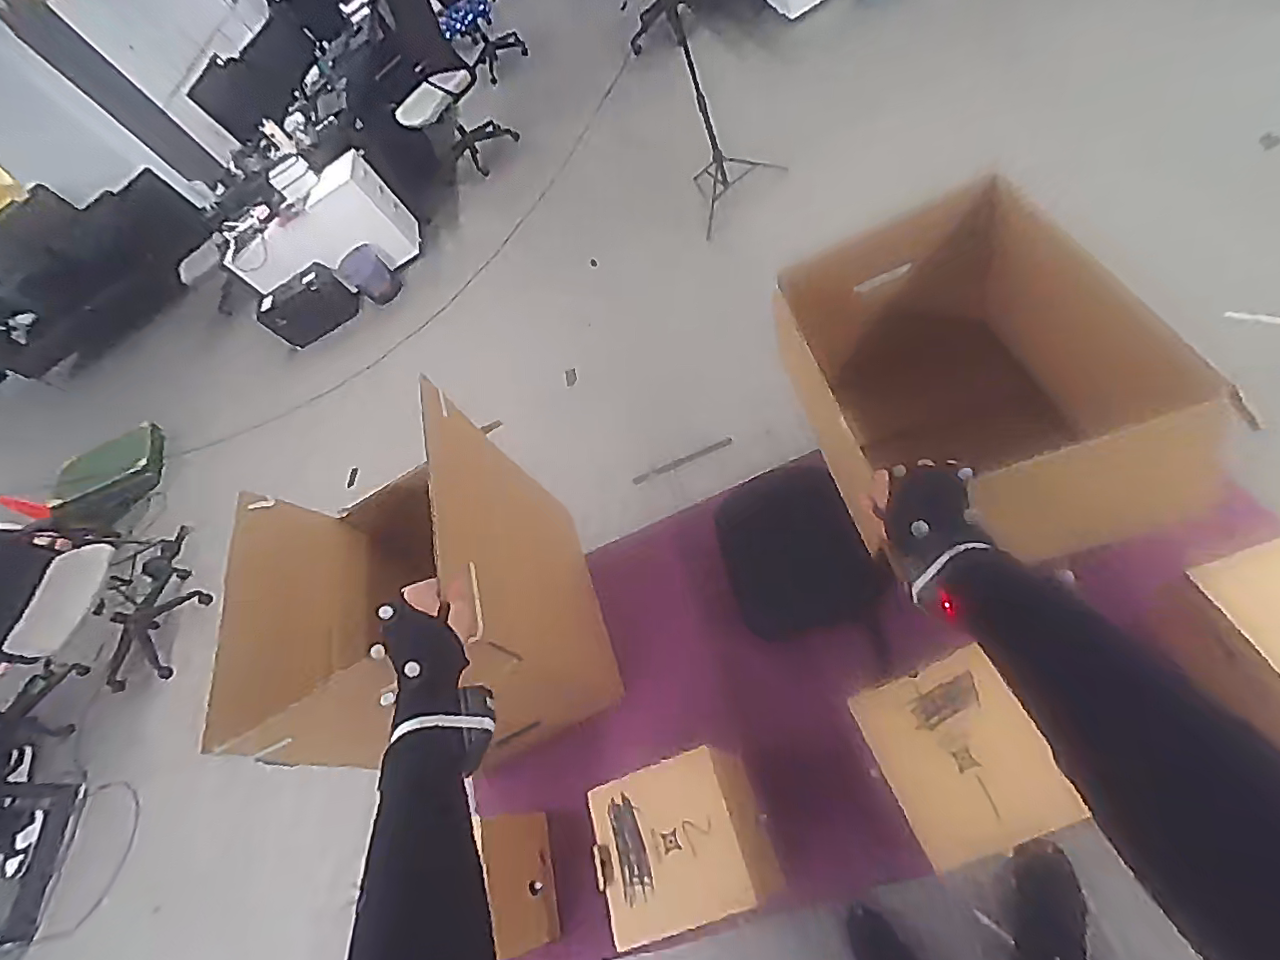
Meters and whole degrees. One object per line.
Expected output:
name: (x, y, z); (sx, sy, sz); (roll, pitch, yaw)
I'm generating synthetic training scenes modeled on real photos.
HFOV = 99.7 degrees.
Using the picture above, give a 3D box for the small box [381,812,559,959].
small box: (-0.241, 0.596, 0.777); (0.179, 0.176, 0.168); (-25, 53, 10)

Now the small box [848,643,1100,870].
small box: (0.365, 0.318, 0.627); (0.168, 0.176, 0.179); (-29, 54, 10)

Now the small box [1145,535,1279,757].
small box: (0.681, 0.163, 0.552); (0.168, 0.176, 0.179); (-26, 53, 14)
